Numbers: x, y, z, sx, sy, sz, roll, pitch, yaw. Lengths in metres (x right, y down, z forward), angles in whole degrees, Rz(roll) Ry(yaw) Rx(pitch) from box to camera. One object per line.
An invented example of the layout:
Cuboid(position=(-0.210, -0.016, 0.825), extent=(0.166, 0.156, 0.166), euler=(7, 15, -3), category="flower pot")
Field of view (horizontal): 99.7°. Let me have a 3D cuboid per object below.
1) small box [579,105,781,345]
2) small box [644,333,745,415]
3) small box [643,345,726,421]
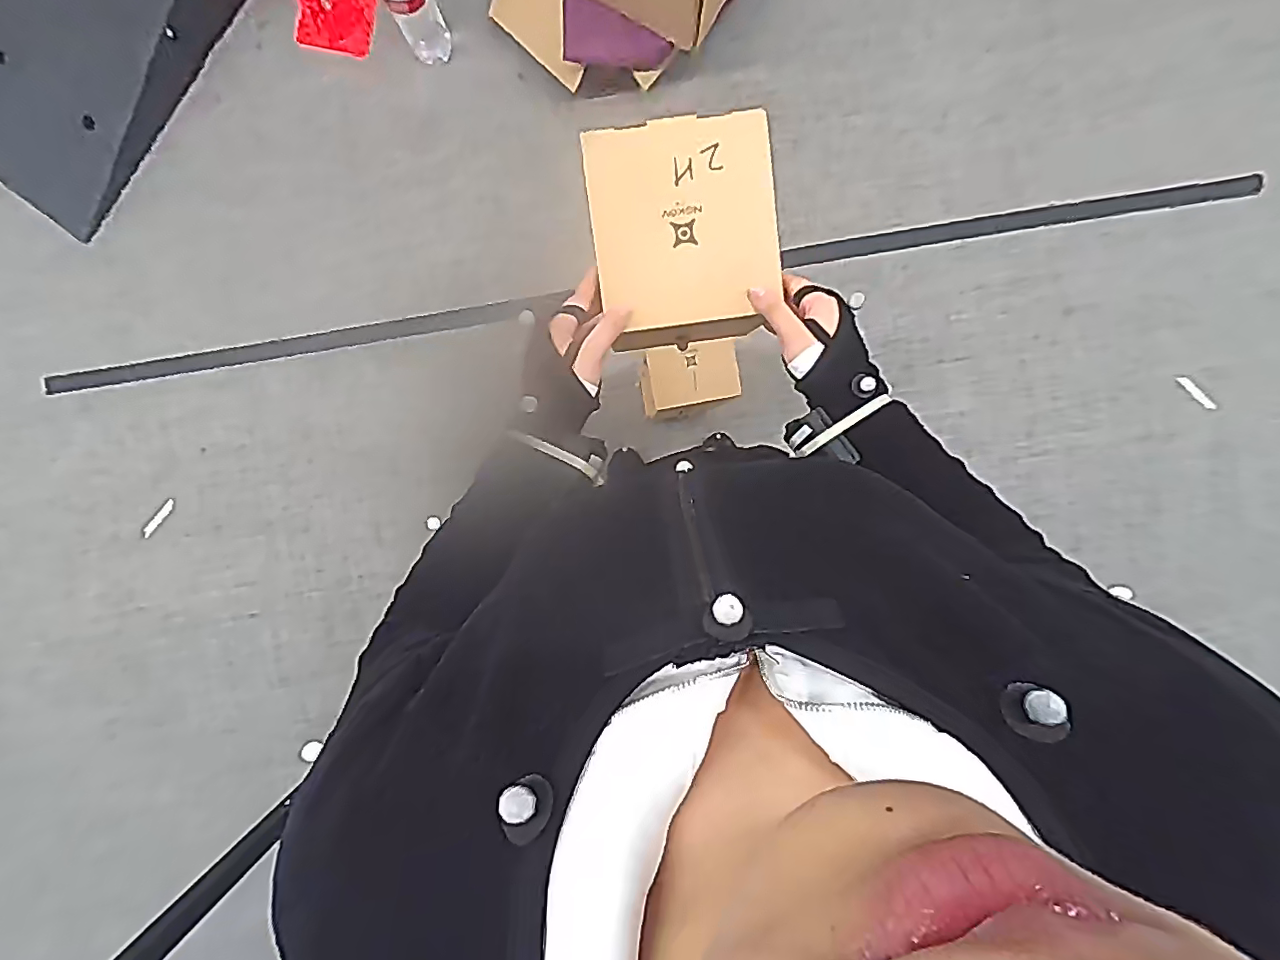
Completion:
Cuboid(position=(0.039, -0.240, 0.559), extent=(0.168, 0.176, 0.179), euler=(-8, 97, 1), category="small box")
Cuboid(position=(0.101, -0.232, 1.076), extent=(0.168, 0.176, 0.179), euler=(-10, 93, 2), category="small box")
Cuboid(position=(0.100, -0.240, 1.241), extent=(0.168, 0.176, 0.179), euler=(-10, 92, 2), category="small box")
